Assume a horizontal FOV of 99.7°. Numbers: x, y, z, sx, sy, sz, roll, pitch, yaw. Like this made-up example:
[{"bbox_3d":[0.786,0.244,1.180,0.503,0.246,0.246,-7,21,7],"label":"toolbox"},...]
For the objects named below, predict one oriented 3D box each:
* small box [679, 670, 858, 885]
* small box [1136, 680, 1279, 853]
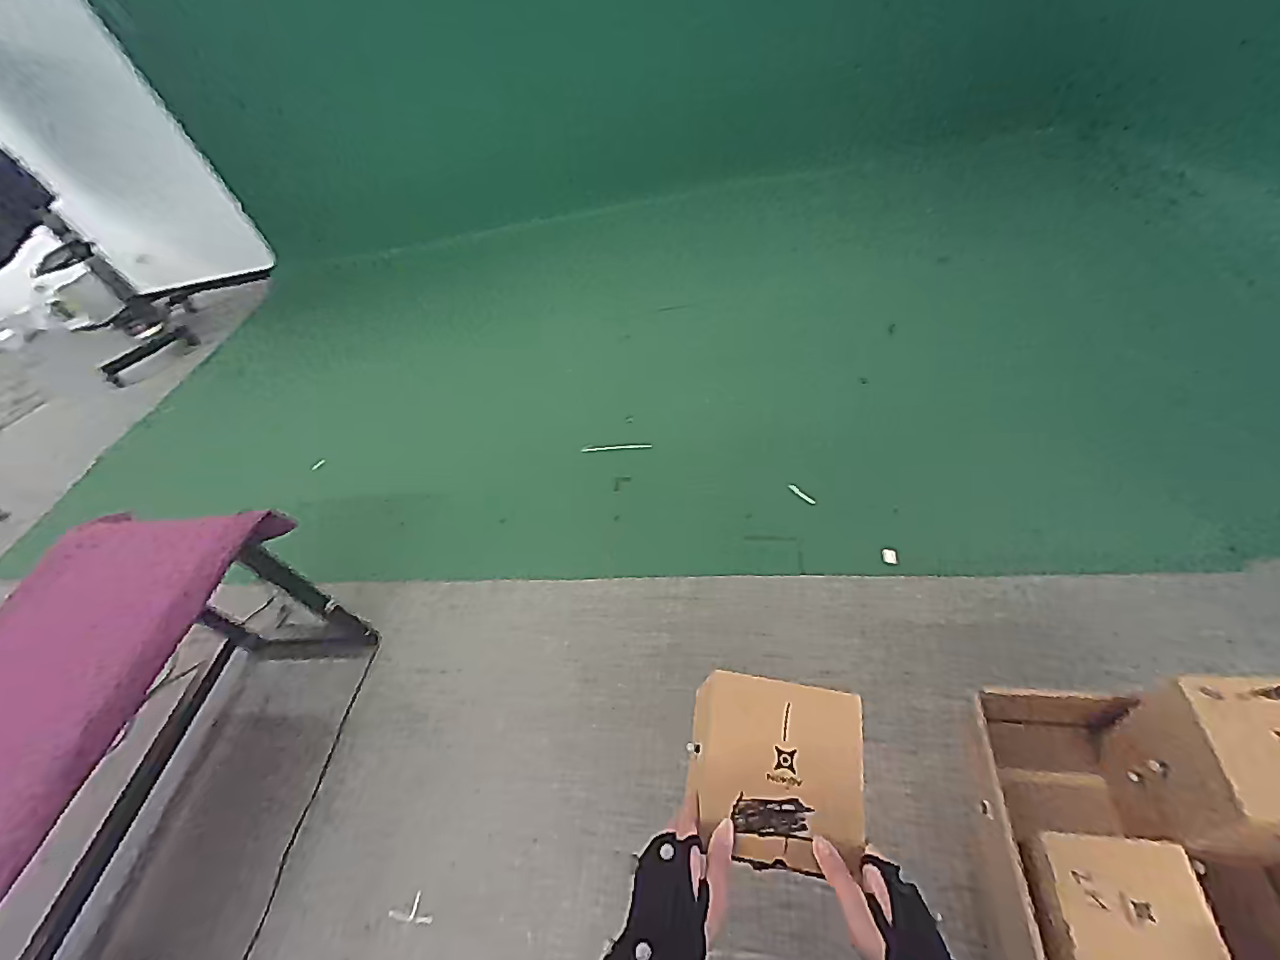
[{"bbox_3d":[0.140,0.337,0.628,0.168,0.176,0.179,9,60,3],"label":"small box"},{"bbox_3d":[0.823,0.387,0.720,0.168,0.176,0.179,-3,50,16],"label":"small box"}]
